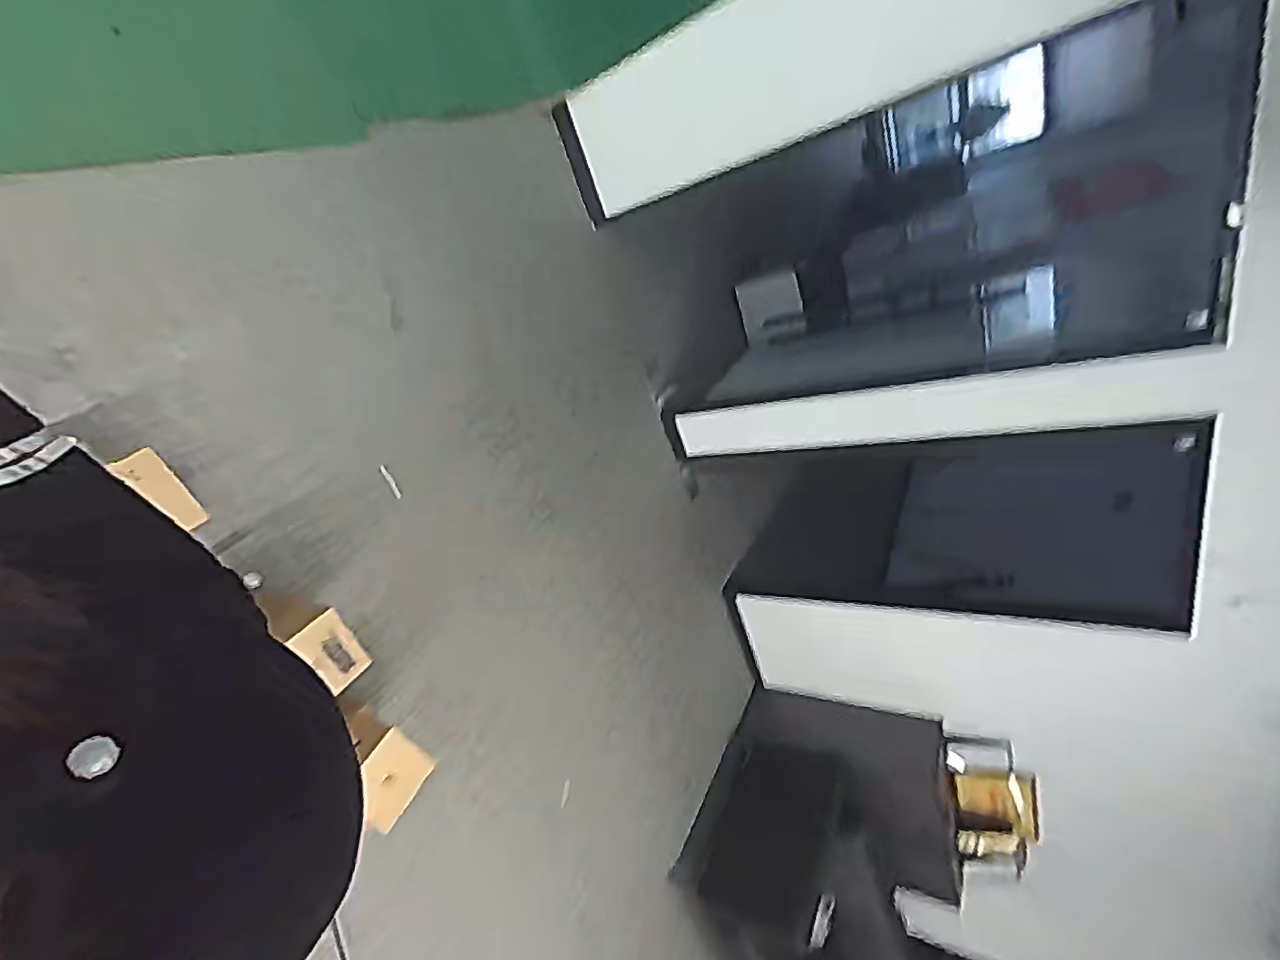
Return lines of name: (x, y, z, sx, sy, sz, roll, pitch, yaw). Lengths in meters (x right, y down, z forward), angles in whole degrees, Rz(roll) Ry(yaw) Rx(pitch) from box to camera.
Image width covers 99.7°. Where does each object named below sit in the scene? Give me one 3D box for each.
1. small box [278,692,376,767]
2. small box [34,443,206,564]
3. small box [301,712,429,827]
small box: (-0.776, 0.667, 1.383, 0.168, 0.176, 0.179, -49, 127, -42)
small box: (-1.021, 0.042, 1.066, 0.168, 0.176, 0.179, -49, 127, -44)
small box: (-0.651, 0.675, 1.278, 0.168, 0.176, 0.179, -55, 131, -39)
